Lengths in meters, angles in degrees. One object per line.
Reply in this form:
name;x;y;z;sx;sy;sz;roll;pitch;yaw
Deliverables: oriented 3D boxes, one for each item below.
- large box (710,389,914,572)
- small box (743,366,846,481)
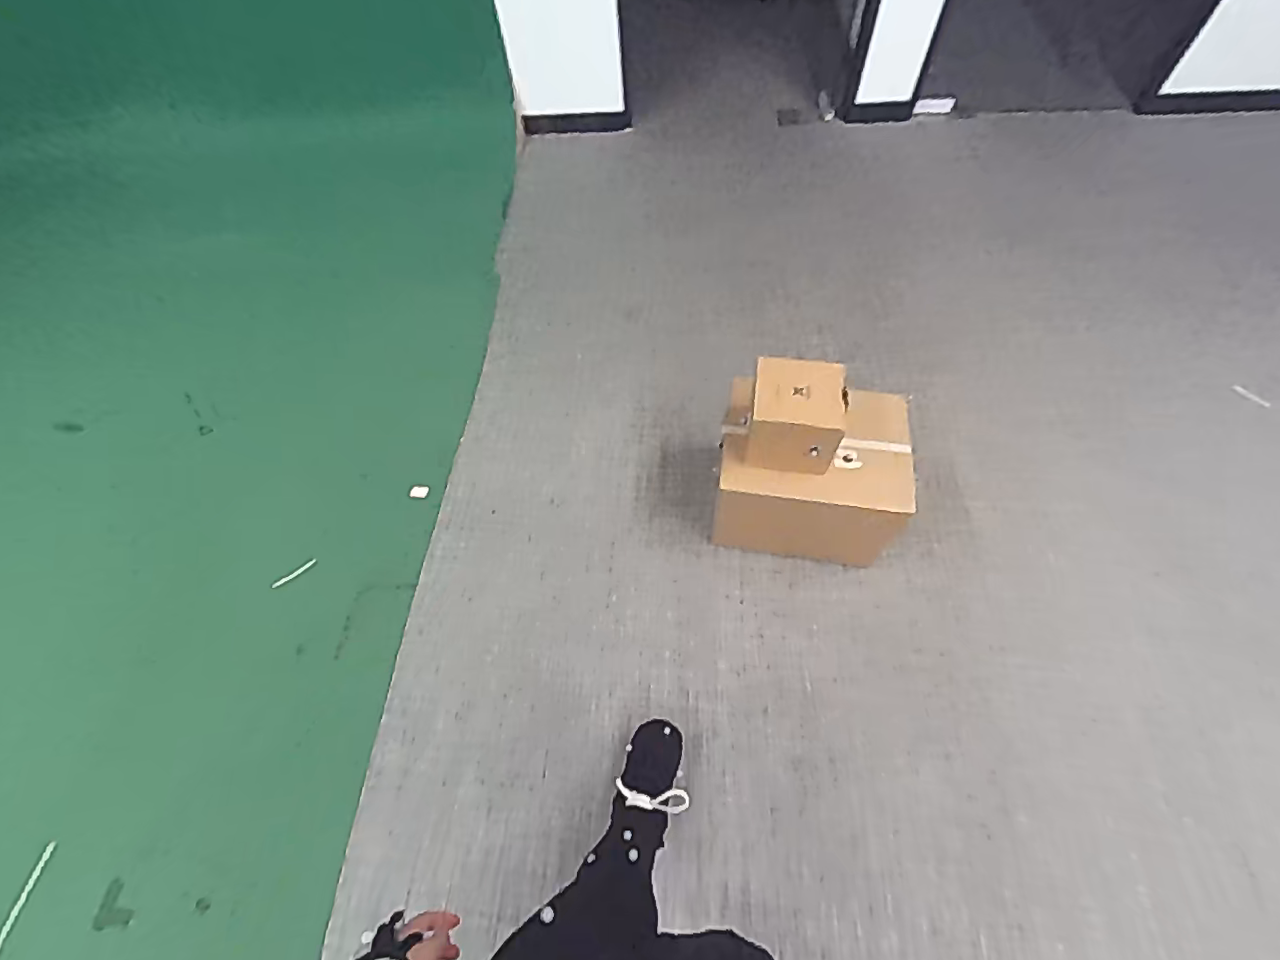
large box;0.394;0.008;1.328;0.408;0.320;0.320;7;61;6
small box;0.314;-0.113;1.121;0.179;0.176;0.168;6;59;7
